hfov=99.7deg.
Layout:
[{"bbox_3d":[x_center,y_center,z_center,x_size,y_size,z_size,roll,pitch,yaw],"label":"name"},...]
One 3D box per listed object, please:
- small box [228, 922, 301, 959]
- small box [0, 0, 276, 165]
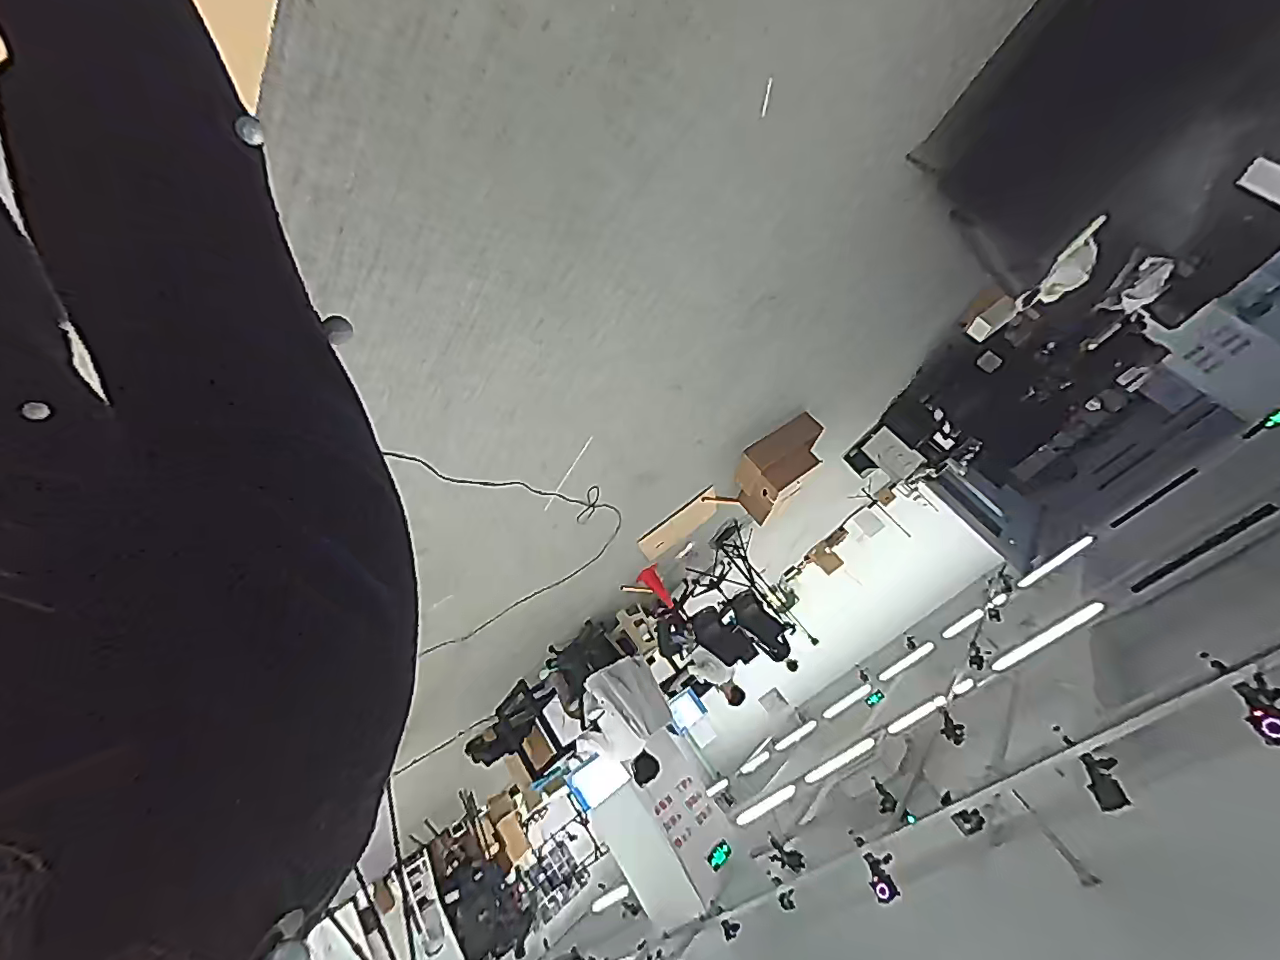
[{"bbox_3d":[-0.988,1.293,1.383,0.179,0.176,0.168,-11,145,-52],"label":"small box"},{"bbox_3d":[-0.445,-0.422,0.461,0.168,0.176,0.179,-8,142,-53],"label":"small box"}]
